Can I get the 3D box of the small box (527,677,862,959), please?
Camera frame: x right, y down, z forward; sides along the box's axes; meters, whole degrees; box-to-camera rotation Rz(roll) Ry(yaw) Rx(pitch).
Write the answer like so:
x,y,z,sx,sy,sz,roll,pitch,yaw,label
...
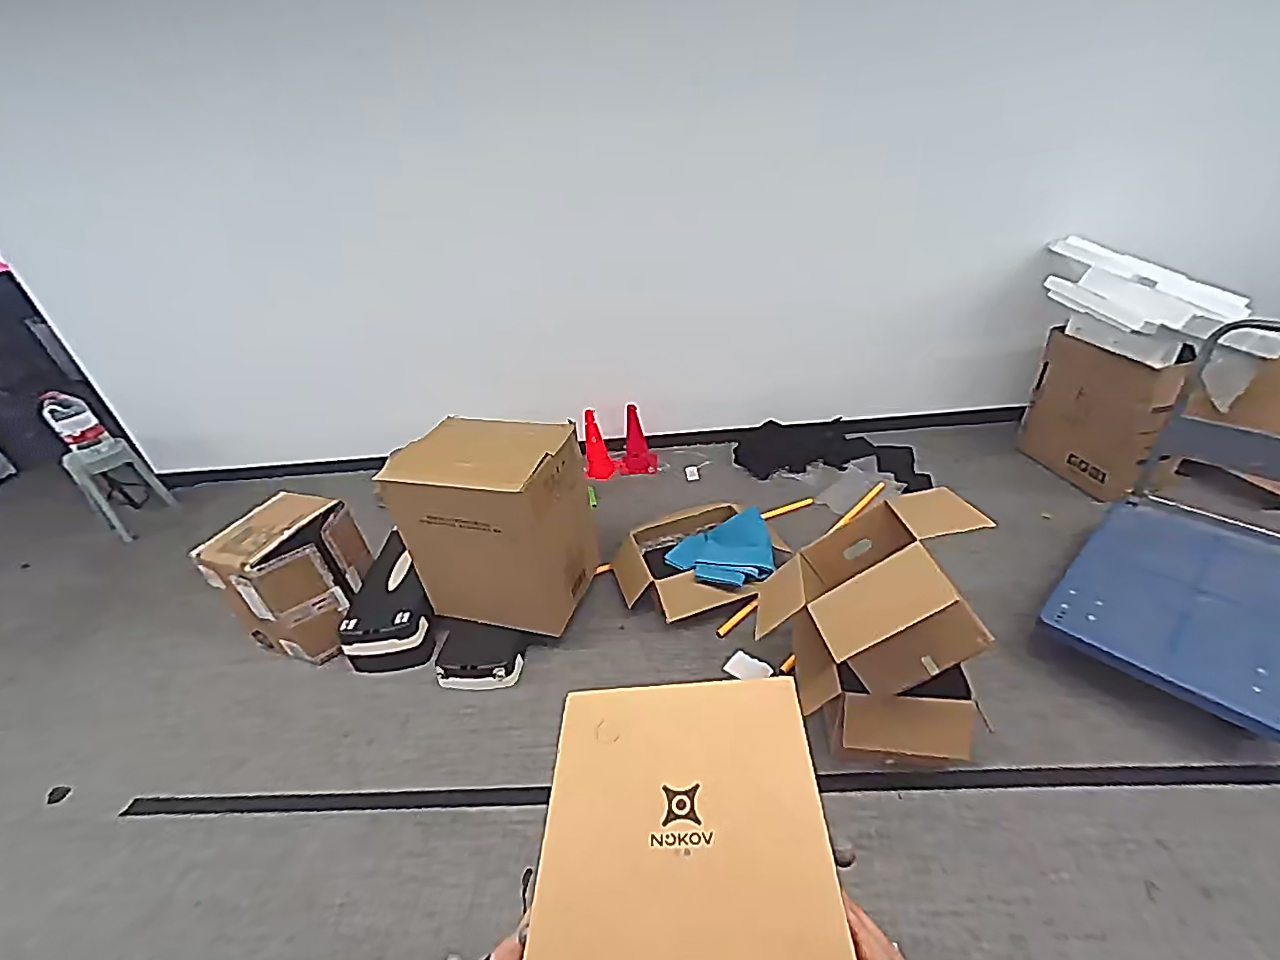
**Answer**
x,y,z,sx,sy,sz,roll,pitch,yaw,label
0.039,0.261,0.362,0.168,0.176,0.179,-7,34,7,small box
